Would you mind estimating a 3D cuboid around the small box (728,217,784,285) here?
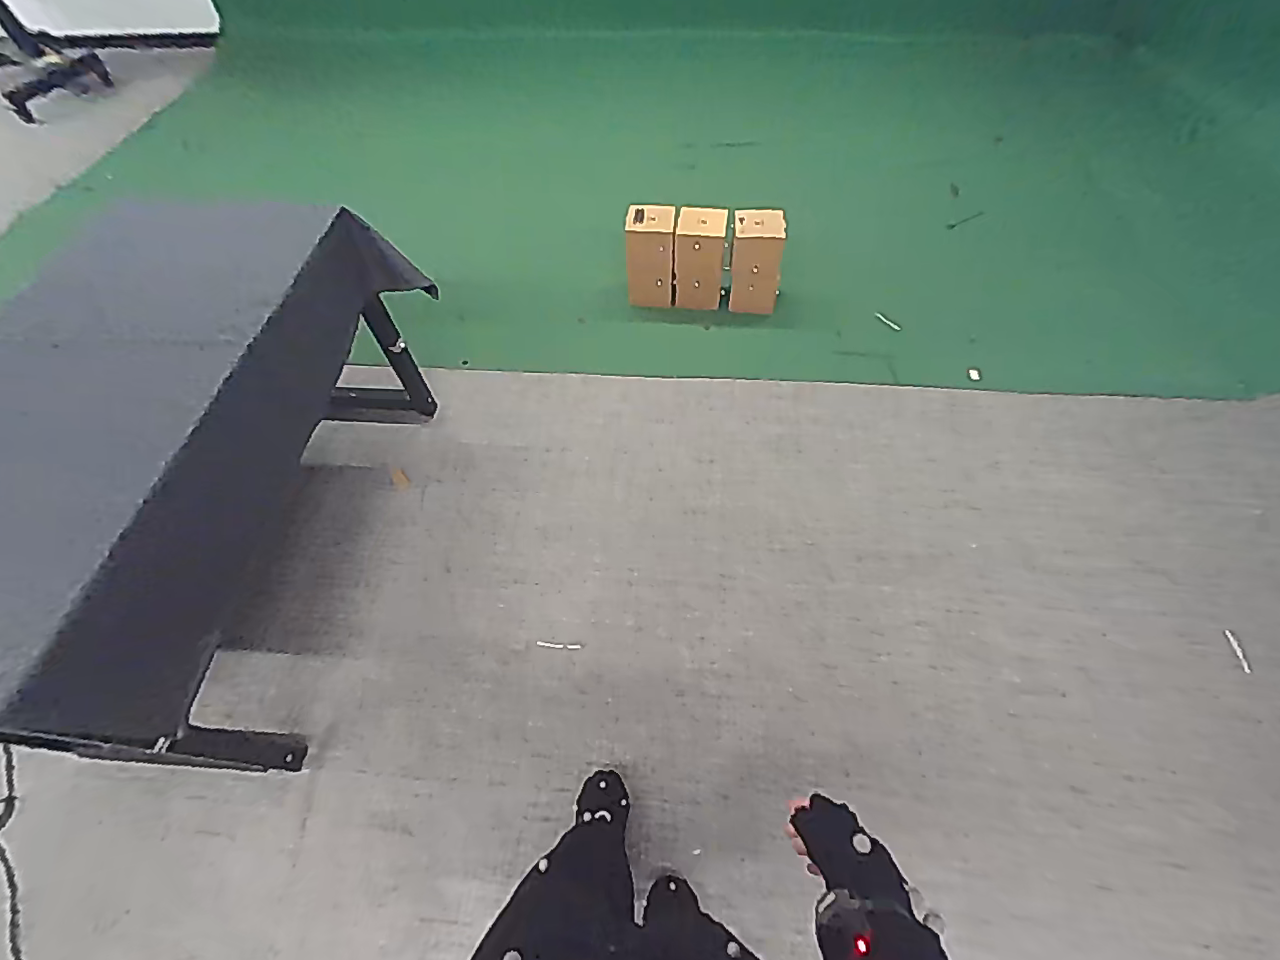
[{"bbox_3d":[0.425,-0.843,1.999,0.179,0.176,0.168,4,56,3],"label":"small box"}]
